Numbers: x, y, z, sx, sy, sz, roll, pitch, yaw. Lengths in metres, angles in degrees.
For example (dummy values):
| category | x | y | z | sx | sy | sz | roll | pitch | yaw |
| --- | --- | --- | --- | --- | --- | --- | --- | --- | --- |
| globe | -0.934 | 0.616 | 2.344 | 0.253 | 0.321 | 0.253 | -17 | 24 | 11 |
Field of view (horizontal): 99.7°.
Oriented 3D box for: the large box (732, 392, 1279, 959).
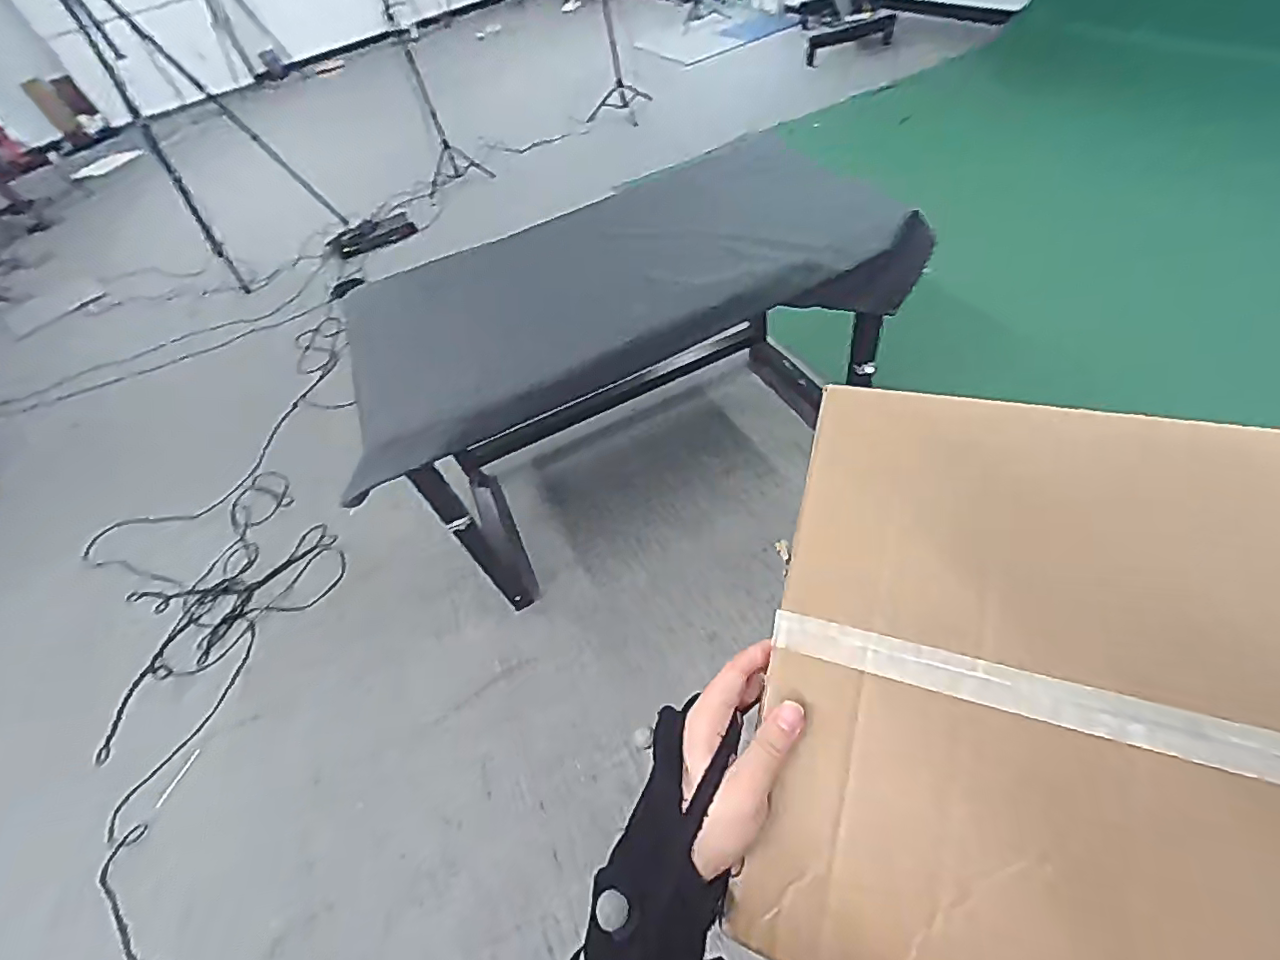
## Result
| category | x | y | z | sx | sy | sz | roll | pitch | yaw |
| --- | --- | --- | --- | --- | --- | --- | --- | --- | --- |
| large box | 0.305 | 0.159 | 0.394 | 0.408 | 0.320 | 0.320 | 10 | 75 | 19 |
